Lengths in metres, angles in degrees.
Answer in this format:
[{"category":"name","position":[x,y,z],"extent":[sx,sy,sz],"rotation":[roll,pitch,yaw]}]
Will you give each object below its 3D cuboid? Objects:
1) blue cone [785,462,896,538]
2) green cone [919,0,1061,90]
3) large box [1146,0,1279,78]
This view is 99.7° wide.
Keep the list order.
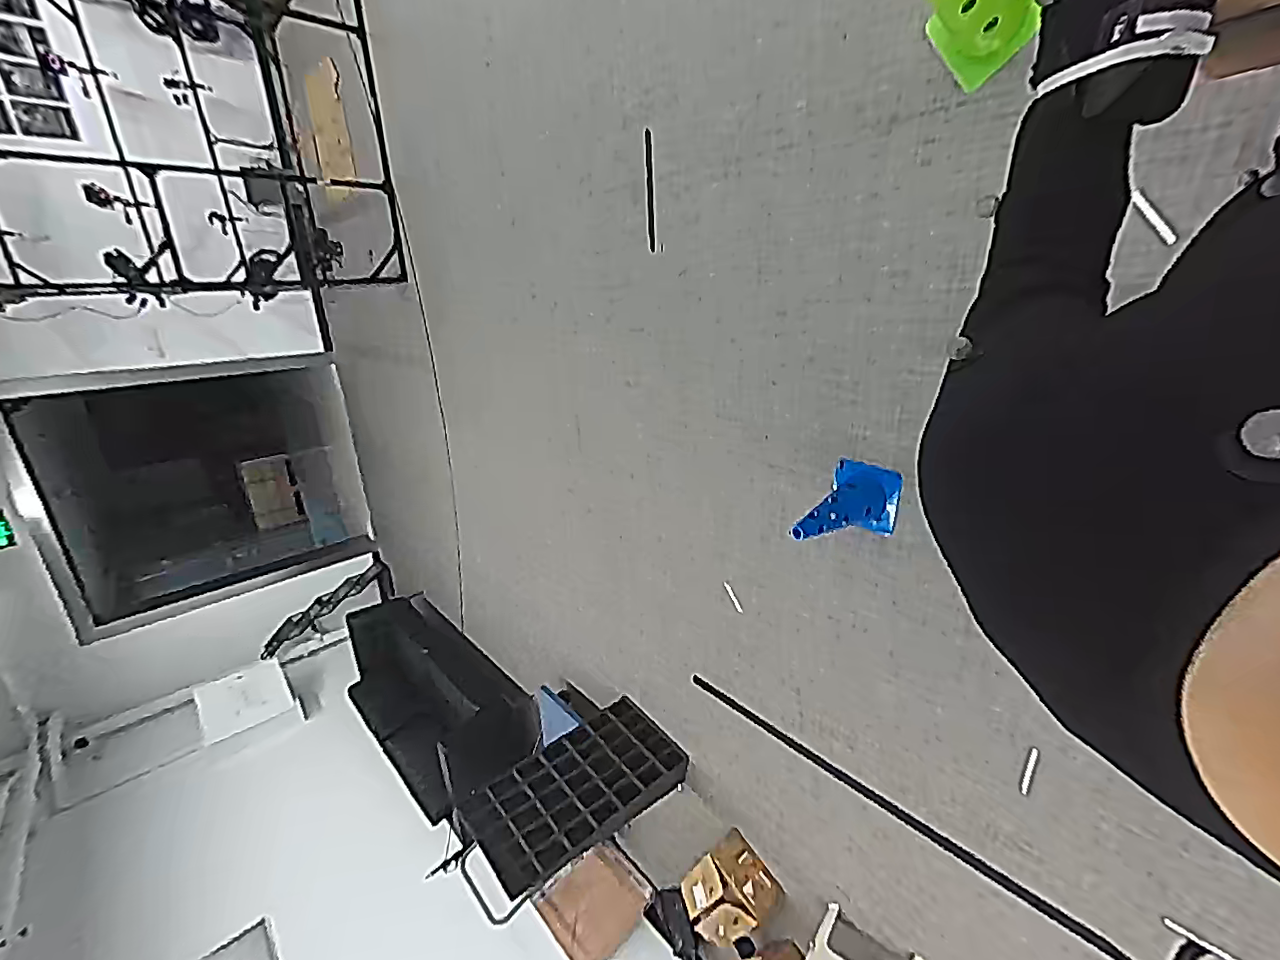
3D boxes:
[{"category":"blue cone","position":[0.540,0.092,1.517],"extent":[0.192,0.380,0.193],"rotation":[24,122,44]},{"category":"green cone","position":[0.595,-0.922,1.017],"extent":[0.202,0.368,0.200],"rotation":[-38,74,51]},{"category":"large box","position":[0.555,-0.453,0.255],"extent":[0.408,0.320,0.320],"rotation":[16,122,46]}]
